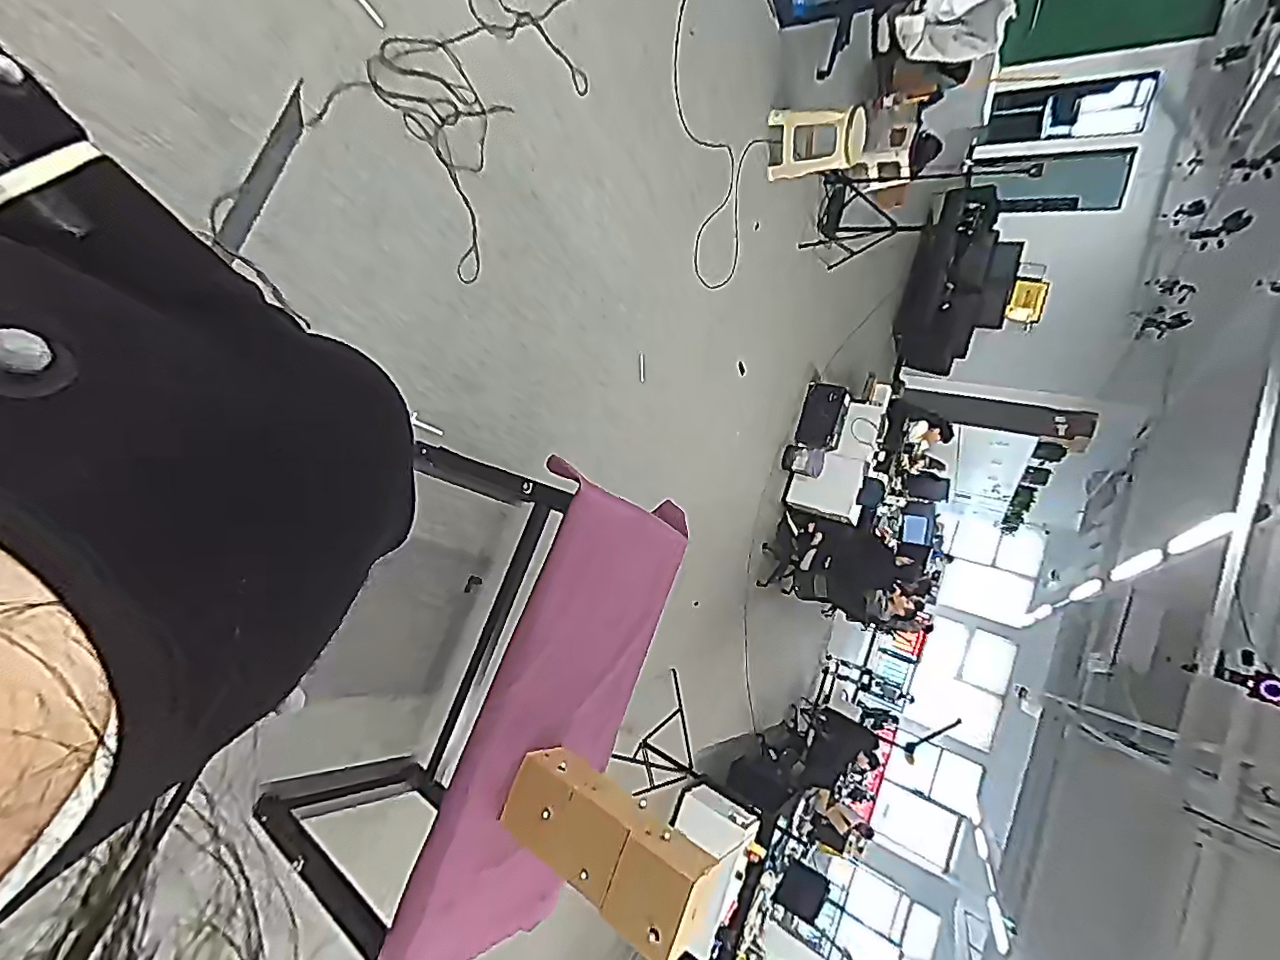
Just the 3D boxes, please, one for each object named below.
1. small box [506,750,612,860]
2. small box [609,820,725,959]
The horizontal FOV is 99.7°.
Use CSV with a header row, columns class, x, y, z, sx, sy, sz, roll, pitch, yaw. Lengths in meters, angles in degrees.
class,x,y,z,sx,sy,sz,roll,pitch,yaw
small box,-0.205,0.799,1.357,0.168,0.176,0.179,35,75,-55
small box,0.056,0.885,1.174,0.168,0.176,0.179,34,74,-56
